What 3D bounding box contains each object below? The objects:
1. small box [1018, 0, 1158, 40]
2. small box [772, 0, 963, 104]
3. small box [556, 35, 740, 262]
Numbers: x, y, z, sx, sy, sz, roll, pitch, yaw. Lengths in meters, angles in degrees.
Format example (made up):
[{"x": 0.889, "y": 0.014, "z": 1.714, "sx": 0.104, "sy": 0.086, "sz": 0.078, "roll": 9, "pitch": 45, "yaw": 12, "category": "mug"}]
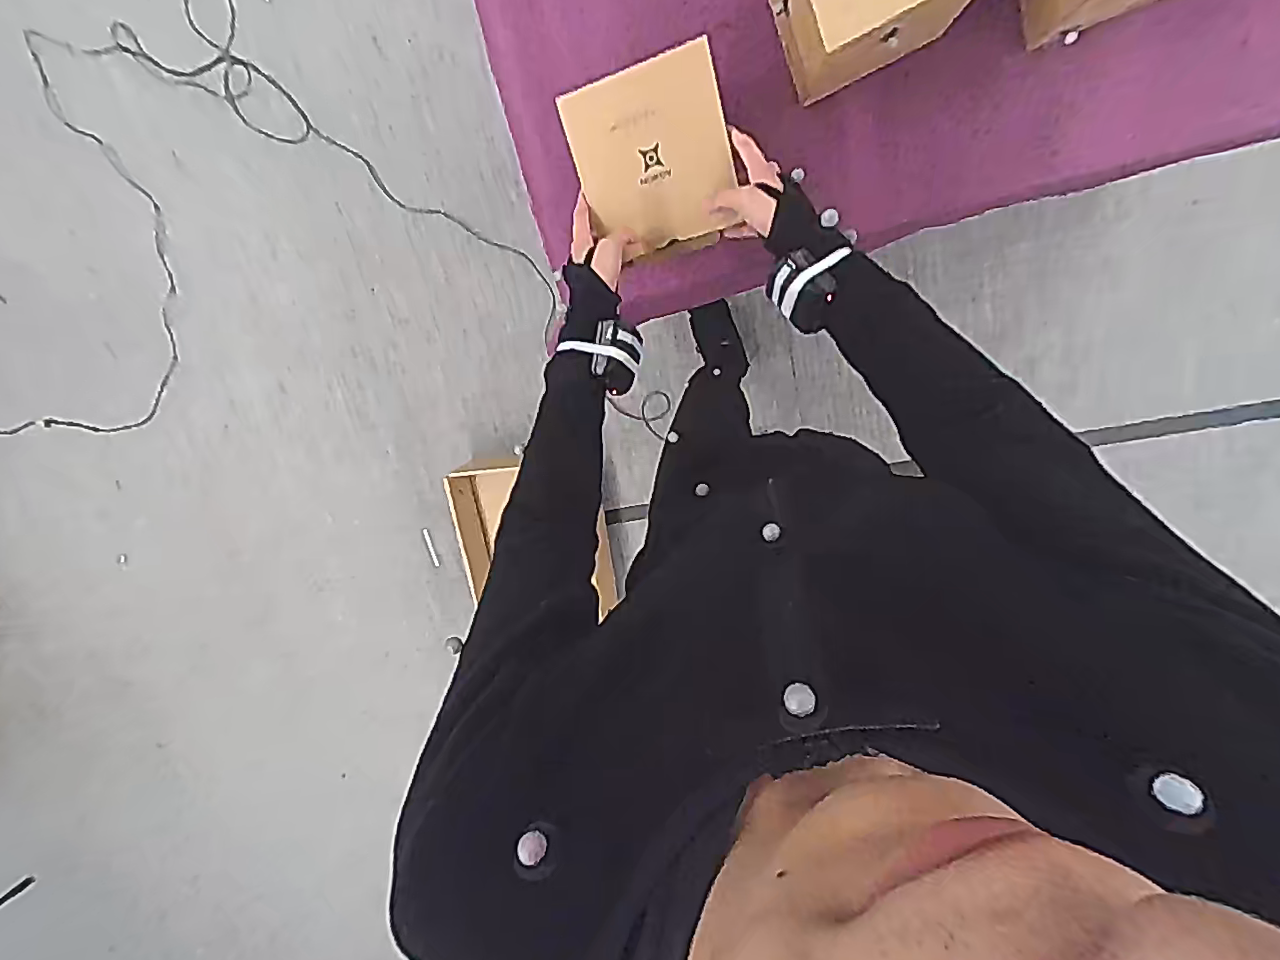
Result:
[{"x": 0.504, "y": -0.591, "z": 0.542, "sx": 0.168, "sy": 0.176, "sz": 0.179, "roll": -16, "pitch": 104, "yaw": 12, "category": "small box"}, {"x": 0.245, "y": -0.556, "z": 0.588, "sx": 0.179, "sy": 0.176, "sz": 0.168, "roll": -20, "pitch": 105, "yaw": 13, "category": "small box"}, {"x": 0.022, "y": -0.383, "z": 0.652, "sx": 0.168, "sy": 0.176, "sz": 0.179, "roll": -13, "pitch": 114, "yaw": 13, "category": "small box"}]
